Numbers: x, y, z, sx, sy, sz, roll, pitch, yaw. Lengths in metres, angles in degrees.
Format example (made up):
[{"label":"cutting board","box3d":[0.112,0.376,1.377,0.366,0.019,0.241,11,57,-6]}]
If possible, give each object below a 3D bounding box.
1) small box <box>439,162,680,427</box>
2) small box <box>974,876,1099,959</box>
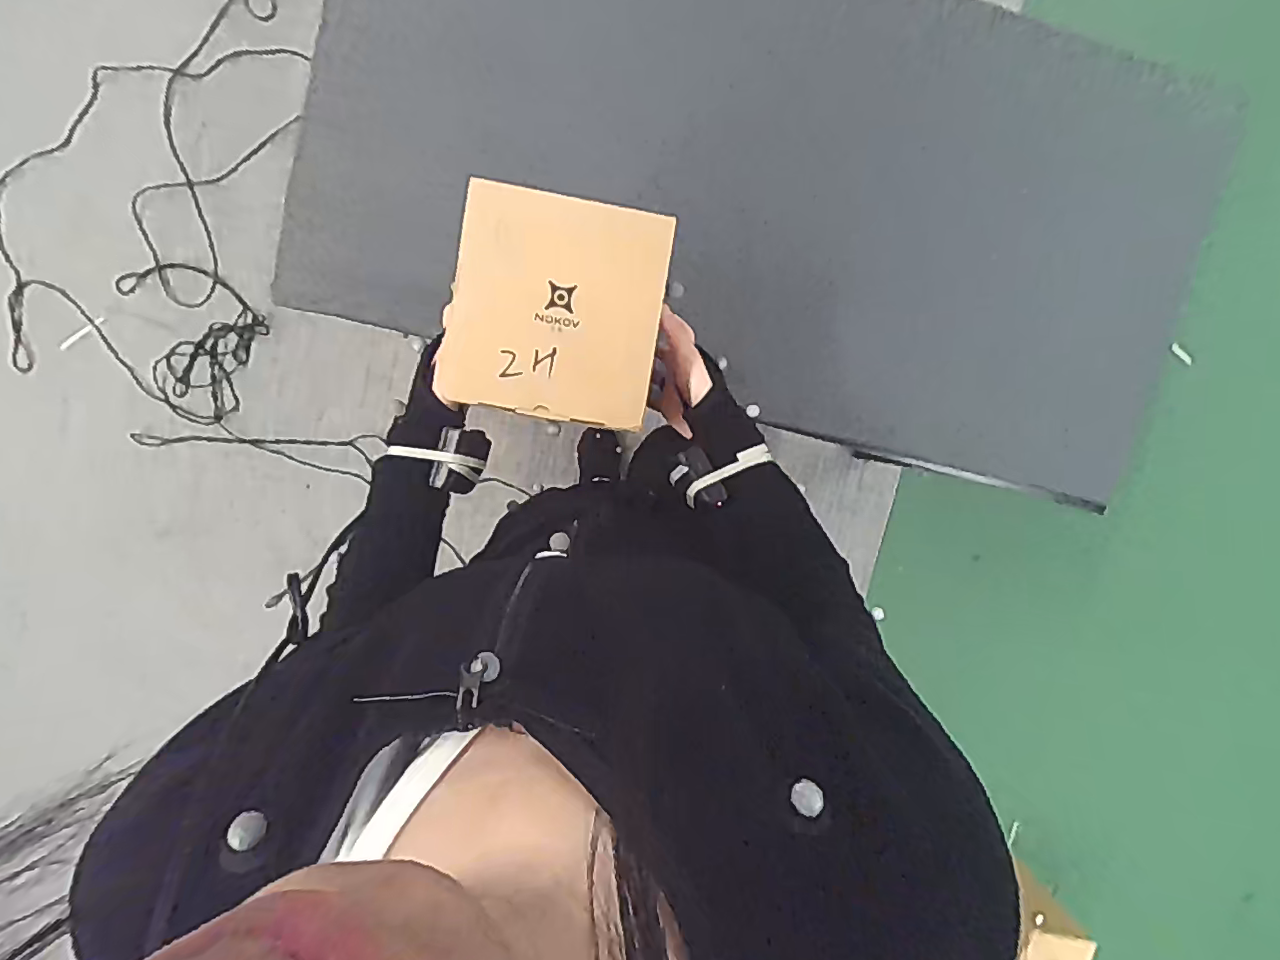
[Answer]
[{"label":"small box","box3d":[-0.068,-0.150,0.502,0.168,0.176,0.179,10,94,-4]},{"label":"small box","box3d":[1.029,1.187,1.417,0.179,0.176,0.168,13,96,-4]}]
